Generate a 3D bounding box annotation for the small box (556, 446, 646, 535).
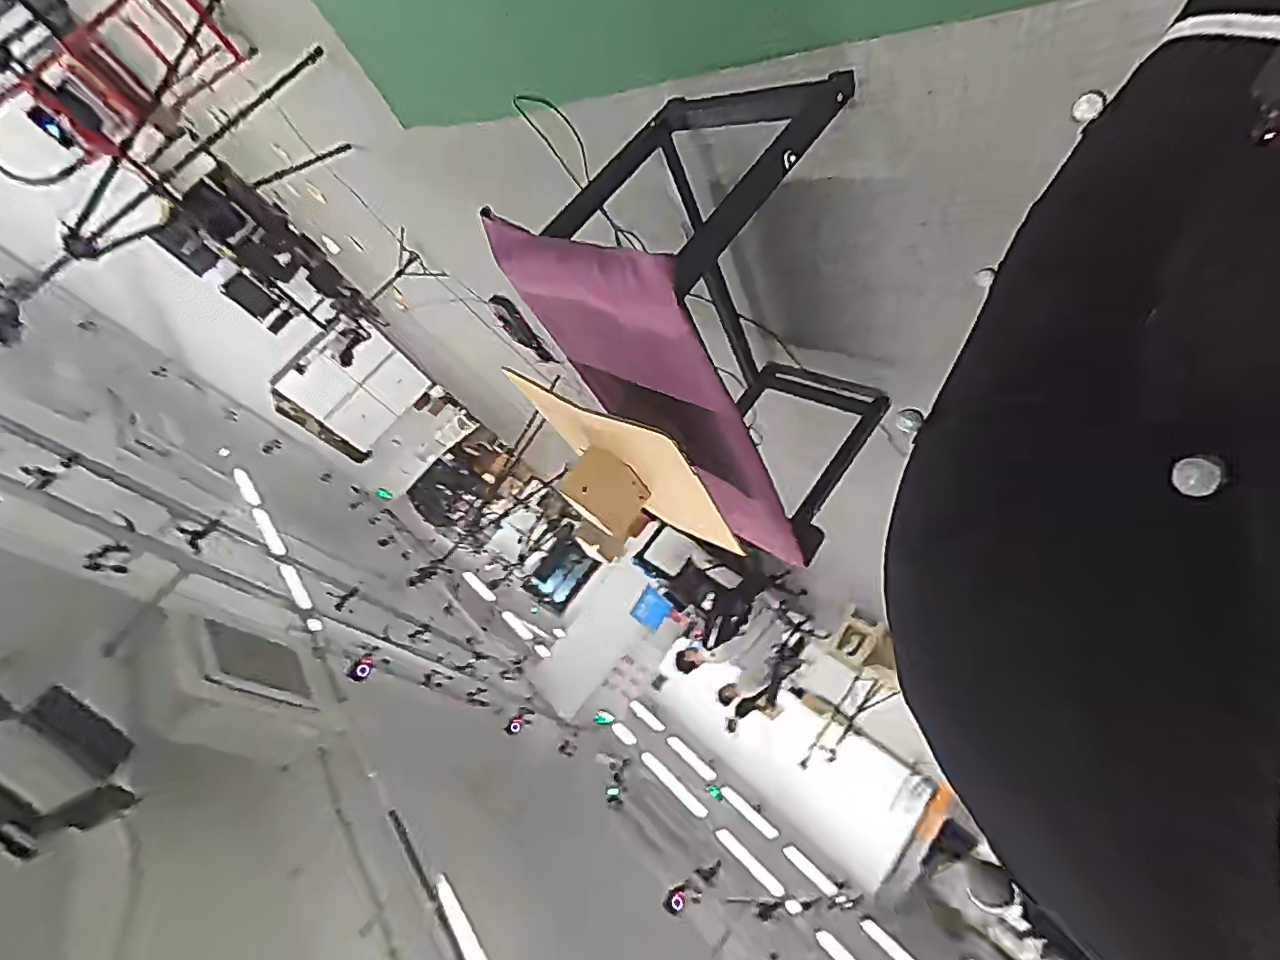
[{"bbox_3d":[-0.104,0.026,1.576,0.179,0.176,0.168,31,166,39],"label":"small box"}]
